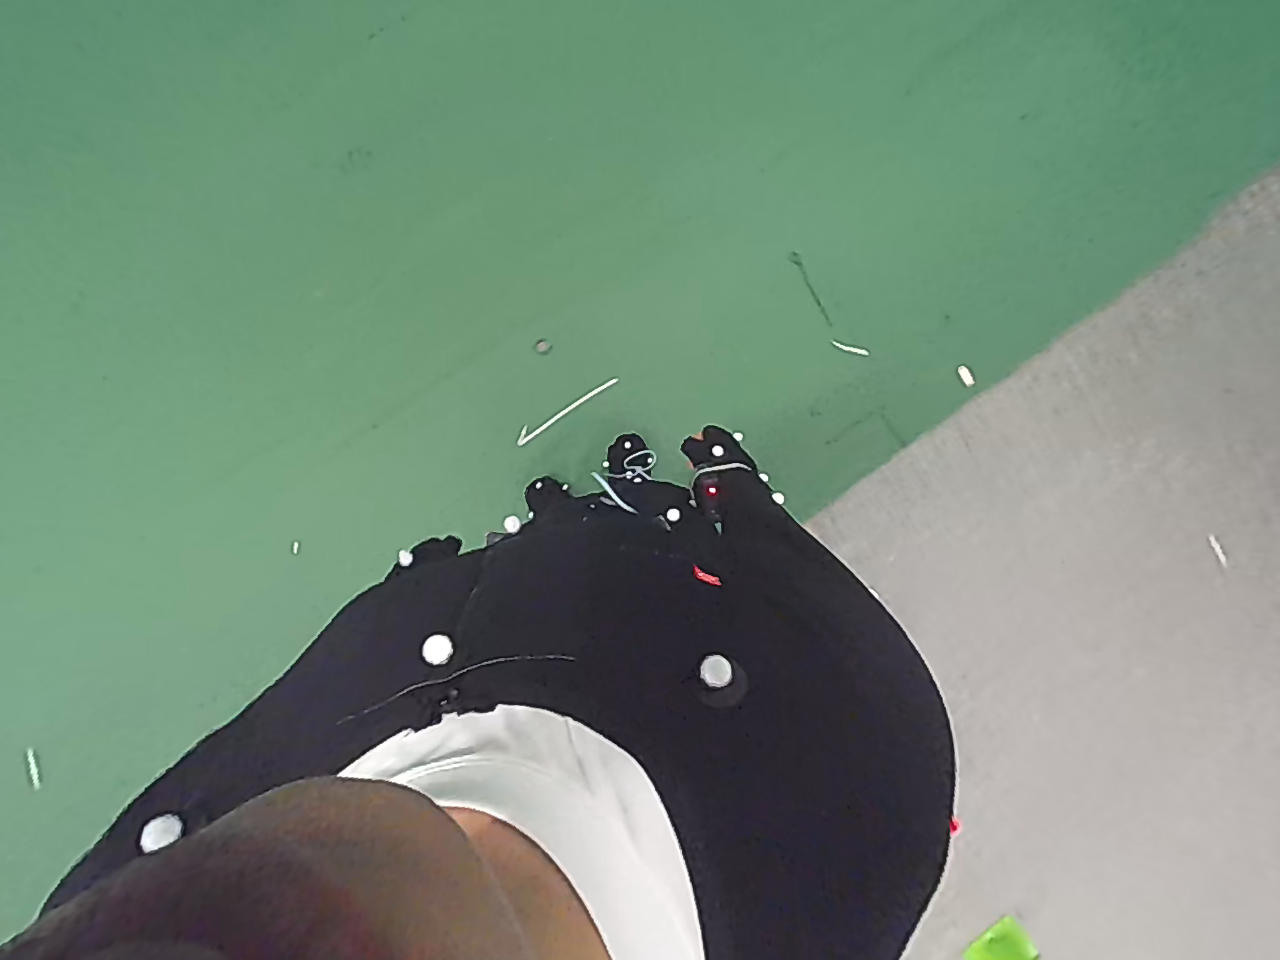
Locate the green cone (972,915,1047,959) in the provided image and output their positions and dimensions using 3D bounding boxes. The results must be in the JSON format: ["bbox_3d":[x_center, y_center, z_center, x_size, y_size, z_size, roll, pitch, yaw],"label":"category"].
[{"bbox_3d":[1.181,1.503,1.534,0.202,0.368,0.200,-37,96,-2],"label":"green cone"}]
